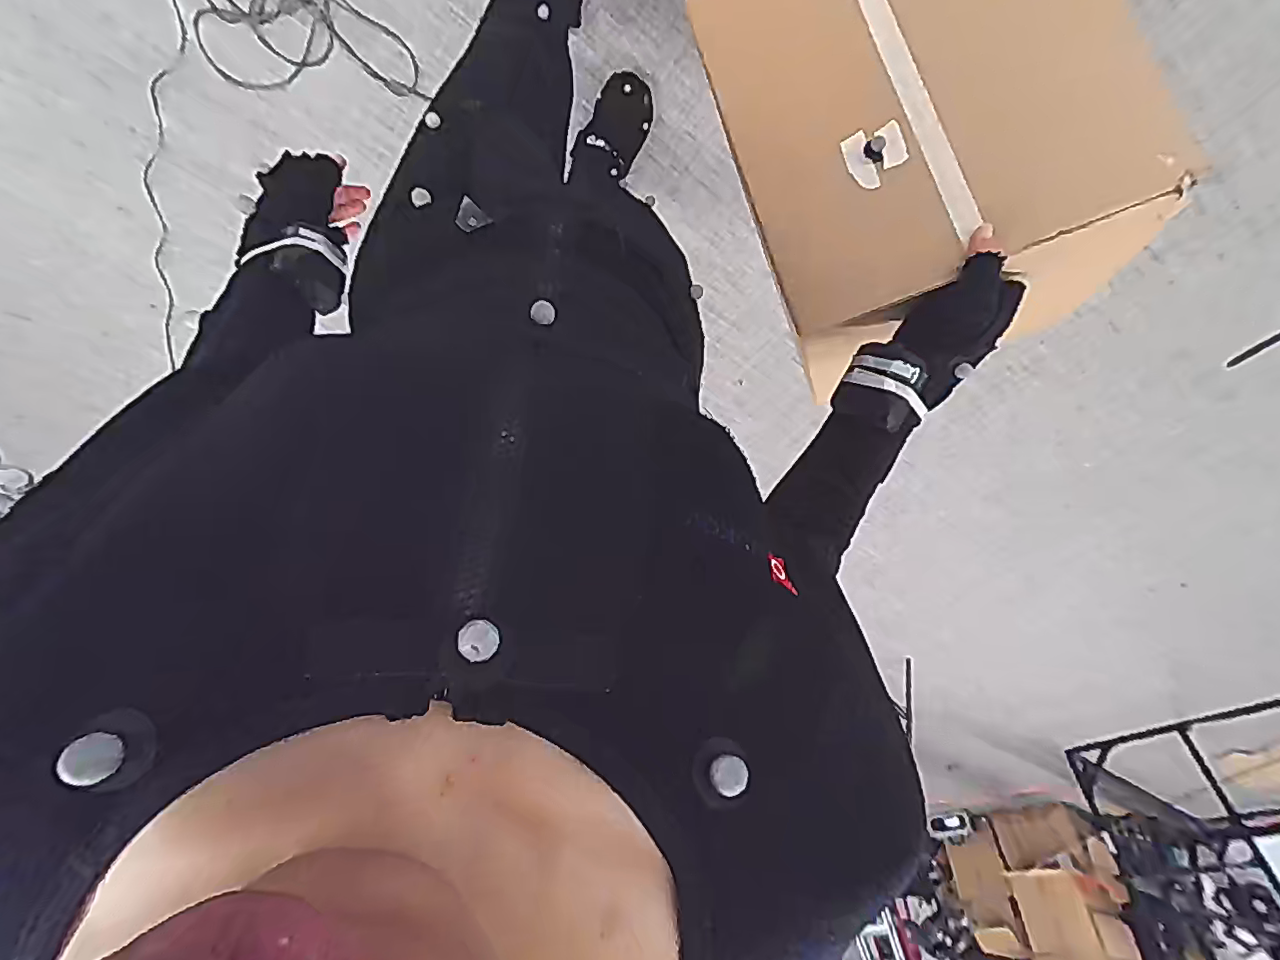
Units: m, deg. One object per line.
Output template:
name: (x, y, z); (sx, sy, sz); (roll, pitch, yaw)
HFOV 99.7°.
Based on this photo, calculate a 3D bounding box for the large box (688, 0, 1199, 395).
large box: (0.291, -0.361, 0.633); (0.320, 0.408, 0.320); (-19, 171, 19)
